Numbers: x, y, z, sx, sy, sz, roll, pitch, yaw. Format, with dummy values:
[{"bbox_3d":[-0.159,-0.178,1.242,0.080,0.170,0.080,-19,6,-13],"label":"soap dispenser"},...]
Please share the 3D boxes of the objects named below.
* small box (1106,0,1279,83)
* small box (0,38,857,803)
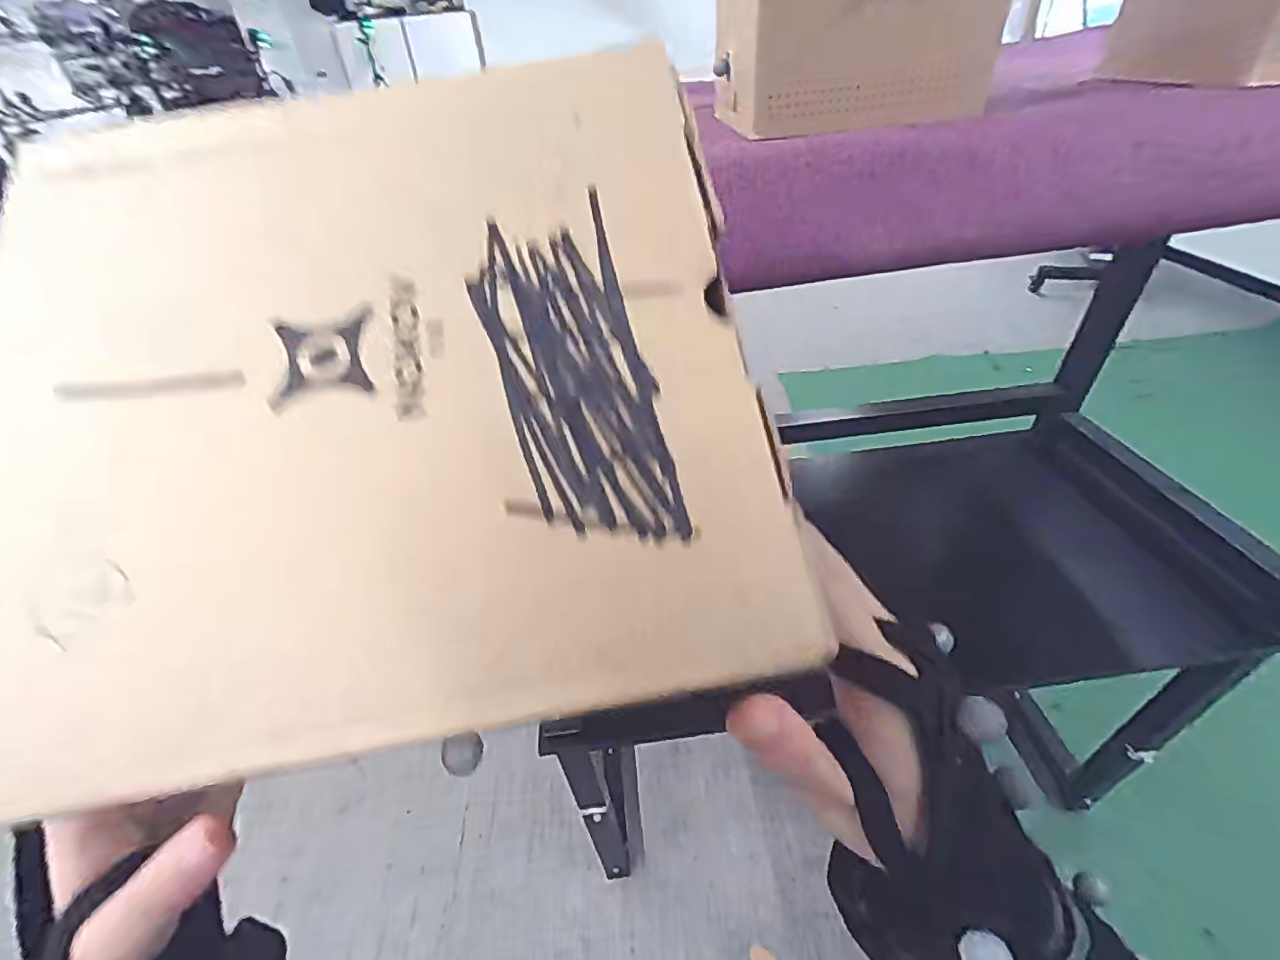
[{"bbox_3d":[0.522,-0.412,0.409,0.168,0.176,0.179,-3,38,3],"label":"small box"},{"bbox_3d":[-0.055,-0.007,0.199,0.179,0.176,0.168,-10,73,-2],"label":"small box"}]
